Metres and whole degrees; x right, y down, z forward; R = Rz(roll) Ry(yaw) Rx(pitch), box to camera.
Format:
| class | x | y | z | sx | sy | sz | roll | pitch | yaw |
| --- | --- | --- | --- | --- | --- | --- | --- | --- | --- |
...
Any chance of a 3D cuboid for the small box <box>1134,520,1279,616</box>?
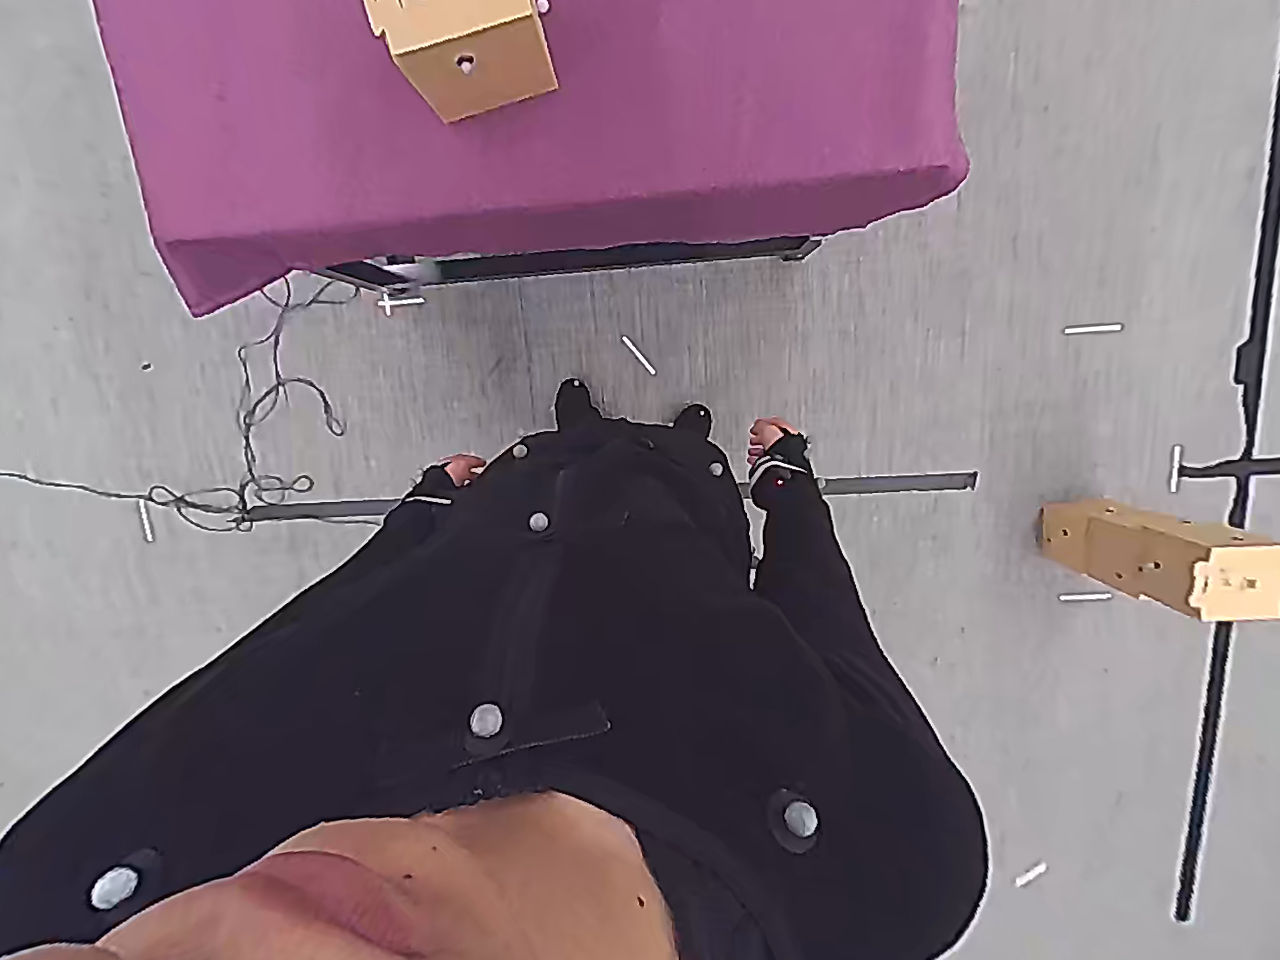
| class | x | y | z | sx | sy | sz | roll | pitch | yaw |
| --- | --- | --- | --- | --- | --- | --- | --- | --- | --- |
| small box | 1.269 | 0.189 | 1.202 | 0.179 | 0.176 | 0.168 | -2 | 102 | 3 |

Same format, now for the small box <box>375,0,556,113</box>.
| class | x | y | z | sx | sy | sz | roll | pitch | yaw |
| --- | --- | --- | --- | --- | --- | --- | --- | --- | --- |
| small box | -0.223 | -0.607 | 0.685 | 0.179 | 0.176 | 0.168 | -14 | 101 | 4 |

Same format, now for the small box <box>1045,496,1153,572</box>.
| class | x | y | z | sx | sy | sz | roll | pitch | yaw |
| --- | --- | --- | --- | --- | --- | --- | --- | --- | --- |
| small box | 1.289 | 0.147 | 1.530 | 0.179 | 0.176 | 0.168 | -7 | 101 | 3 |
